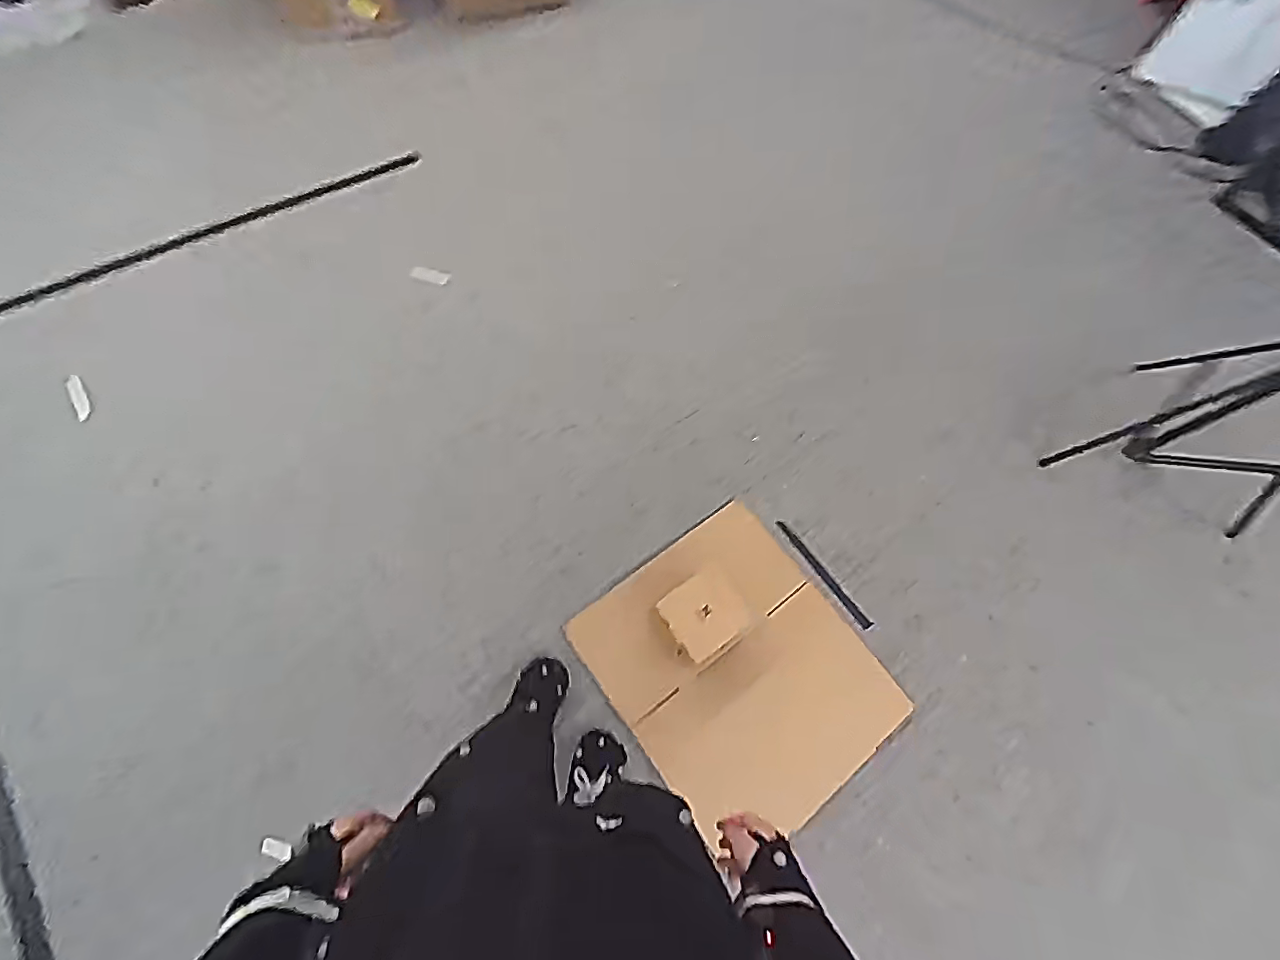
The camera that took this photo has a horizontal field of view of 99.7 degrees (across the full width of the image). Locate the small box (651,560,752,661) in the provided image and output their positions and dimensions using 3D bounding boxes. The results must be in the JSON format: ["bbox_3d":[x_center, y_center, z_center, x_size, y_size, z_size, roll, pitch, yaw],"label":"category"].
[{"bbox_3d":[0.141,0.325,1.322,0.179,0.176,0.168,-32,75,-17],"label":"small box"}]
